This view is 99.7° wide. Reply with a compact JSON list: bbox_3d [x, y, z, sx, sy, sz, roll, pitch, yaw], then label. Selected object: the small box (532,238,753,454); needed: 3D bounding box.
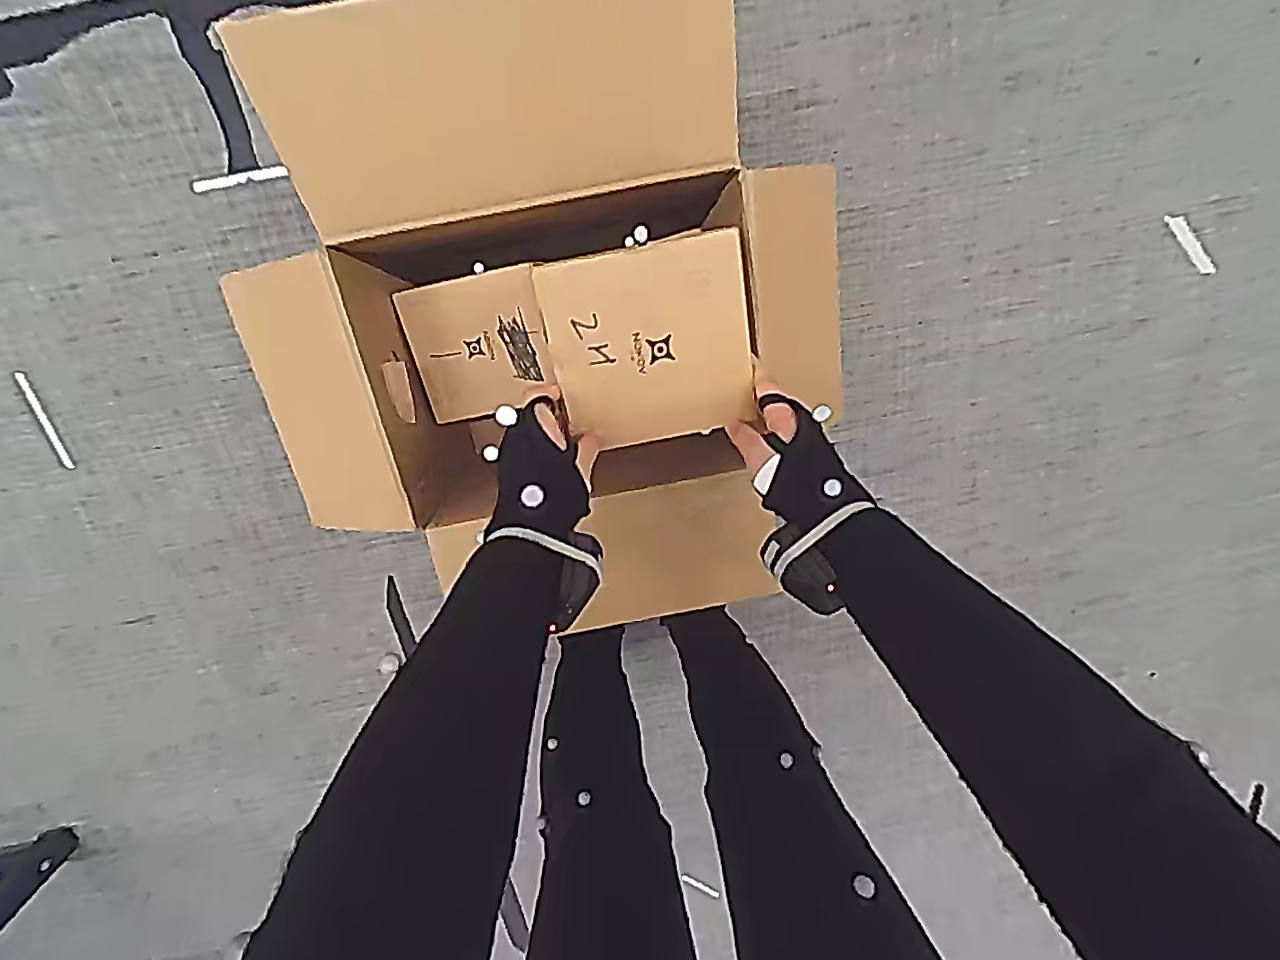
[{"bbox_3d":[0.003,-0.143,0.546,0.179,0.176,0.168,-10,113,2],"label":"small box"}]
